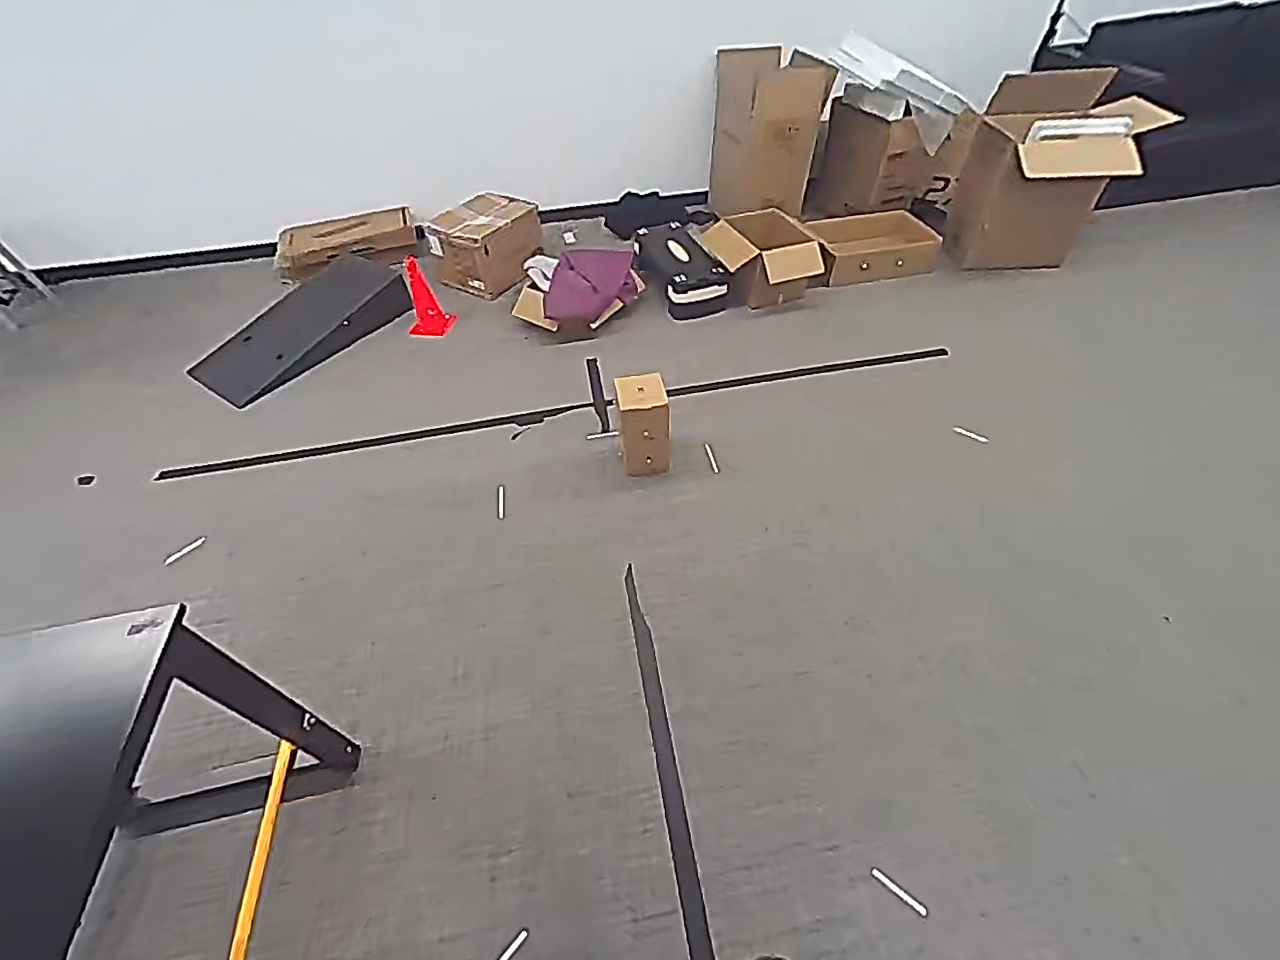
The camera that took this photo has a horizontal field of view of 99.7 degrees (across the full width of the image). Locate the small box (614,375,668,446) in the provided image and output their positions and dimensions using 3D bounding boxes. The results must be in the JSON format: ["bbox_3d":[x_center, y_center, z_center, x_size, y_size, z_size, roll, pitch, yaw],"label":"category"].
[{"bbox_3d":[0.001,-0.243,1.900,0.168,0.176,0.179,-9,49,-4],"label":"small box"}]

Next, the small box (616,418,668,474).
[{"bbox_3d":[0.010,-0.138,2.028,0.168,0.176,0.179,-10,49,-5],"label":"small box"}]
